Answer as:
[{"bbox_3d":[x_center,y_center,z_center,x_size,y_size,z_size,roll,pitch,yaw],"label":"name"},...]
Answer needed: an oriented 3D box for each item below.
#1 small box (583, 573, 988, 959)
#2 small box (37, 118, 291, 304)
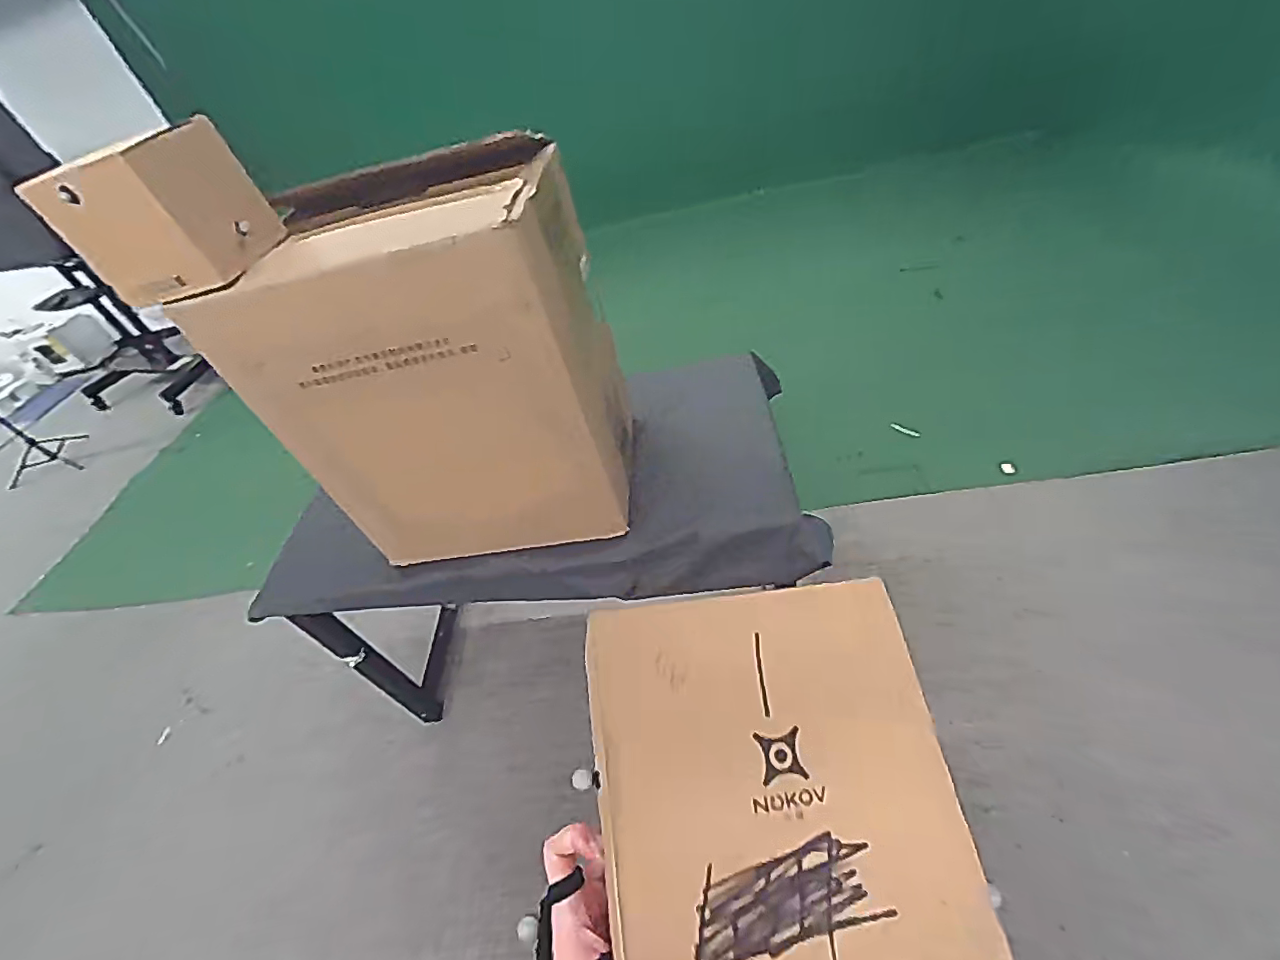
[{"bbox_3d":[0.055,0.170,0.332,0.168,0.176,0.179,-5,66,-9],"label":"small box"},{"bbox_3d":[-0.641,-0.374,0.761,0.168,0.176,0.179,-9,44,13],"label":"small box"}]
